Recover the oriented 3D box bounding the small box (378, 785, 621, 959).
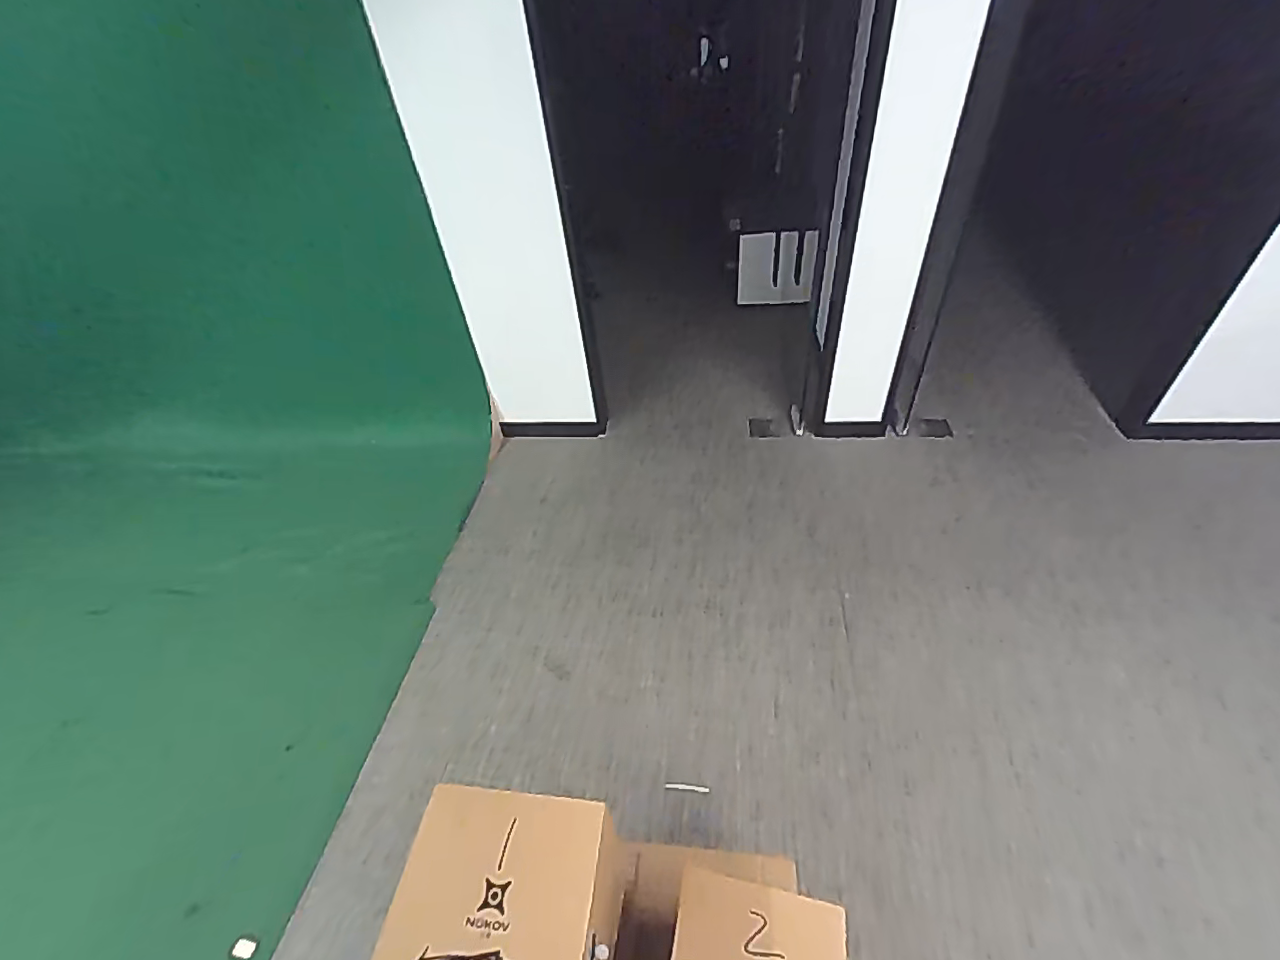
[{"bbox_3d":[-0.112,0.407,0.492,0.168,0.176,0.179,2,42,7],"label":"small box"}]

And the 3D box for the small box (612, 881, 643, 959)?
[{"bbox_3d":[-0.090,0.645,0.717,0.168,0.176,0.179,3,43,8],"label":"small box"}]
